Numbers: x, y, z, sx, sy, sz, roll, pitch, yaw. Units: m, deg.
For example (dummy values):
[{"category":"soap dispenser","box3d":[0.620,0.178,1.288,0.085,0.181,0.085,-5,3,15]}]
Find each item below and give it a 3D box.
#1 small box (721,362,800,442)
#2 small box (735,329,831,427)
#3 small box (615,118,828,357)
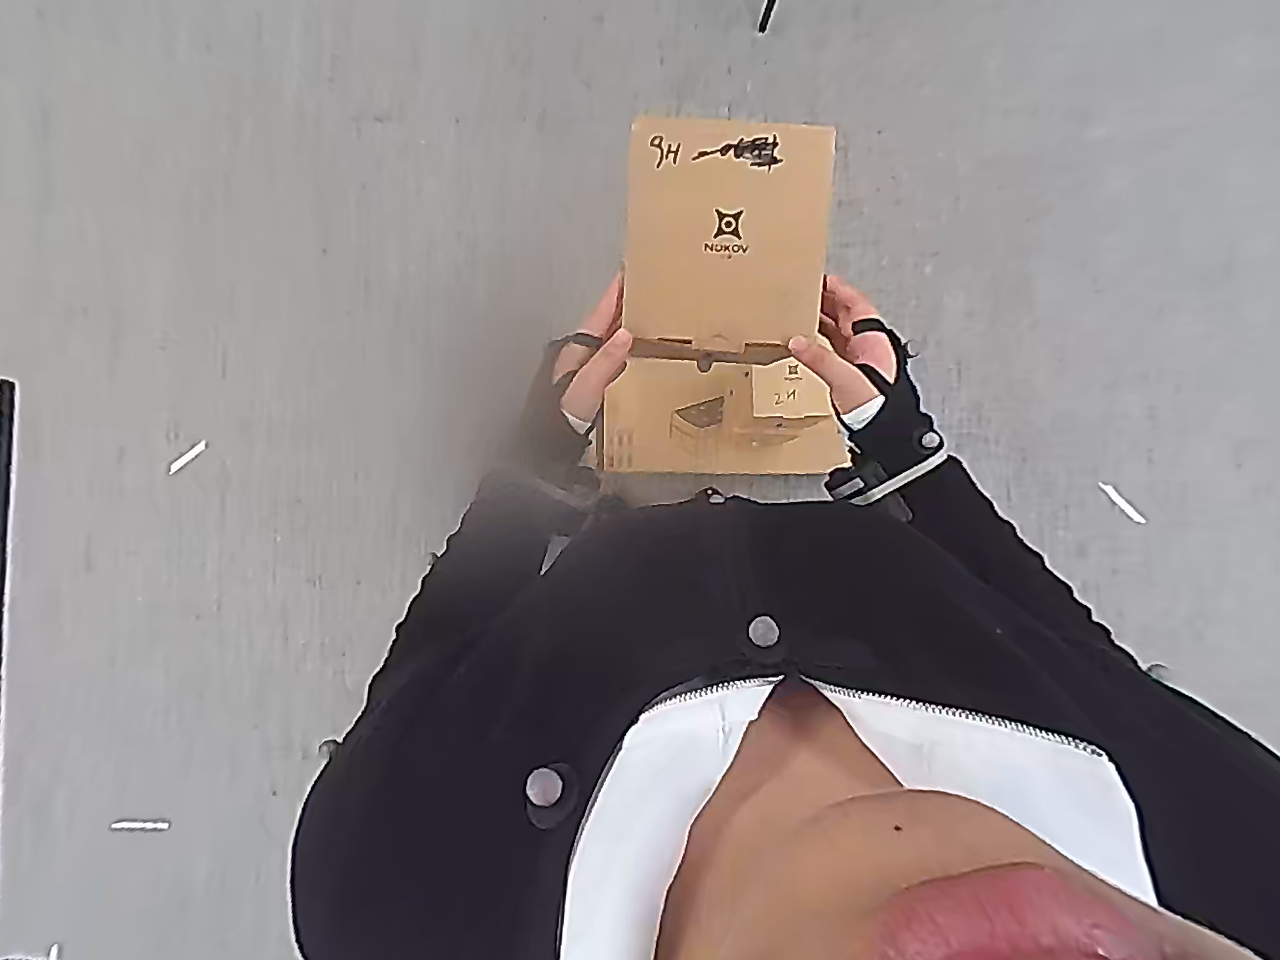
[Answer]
[{"category":"small box","box3d":[0.295,-0.194,1.333,0.168,0.176,0.179,4,89,0]},{"category":"small box","box3d":[0.302,-0.215,1.168,0.168,0.176,0.179,-1,88,0]},{"category":"small box","box3d":[0.066,-0.214,0.524,0.168,0.176,0.179,3,99,0]}]
